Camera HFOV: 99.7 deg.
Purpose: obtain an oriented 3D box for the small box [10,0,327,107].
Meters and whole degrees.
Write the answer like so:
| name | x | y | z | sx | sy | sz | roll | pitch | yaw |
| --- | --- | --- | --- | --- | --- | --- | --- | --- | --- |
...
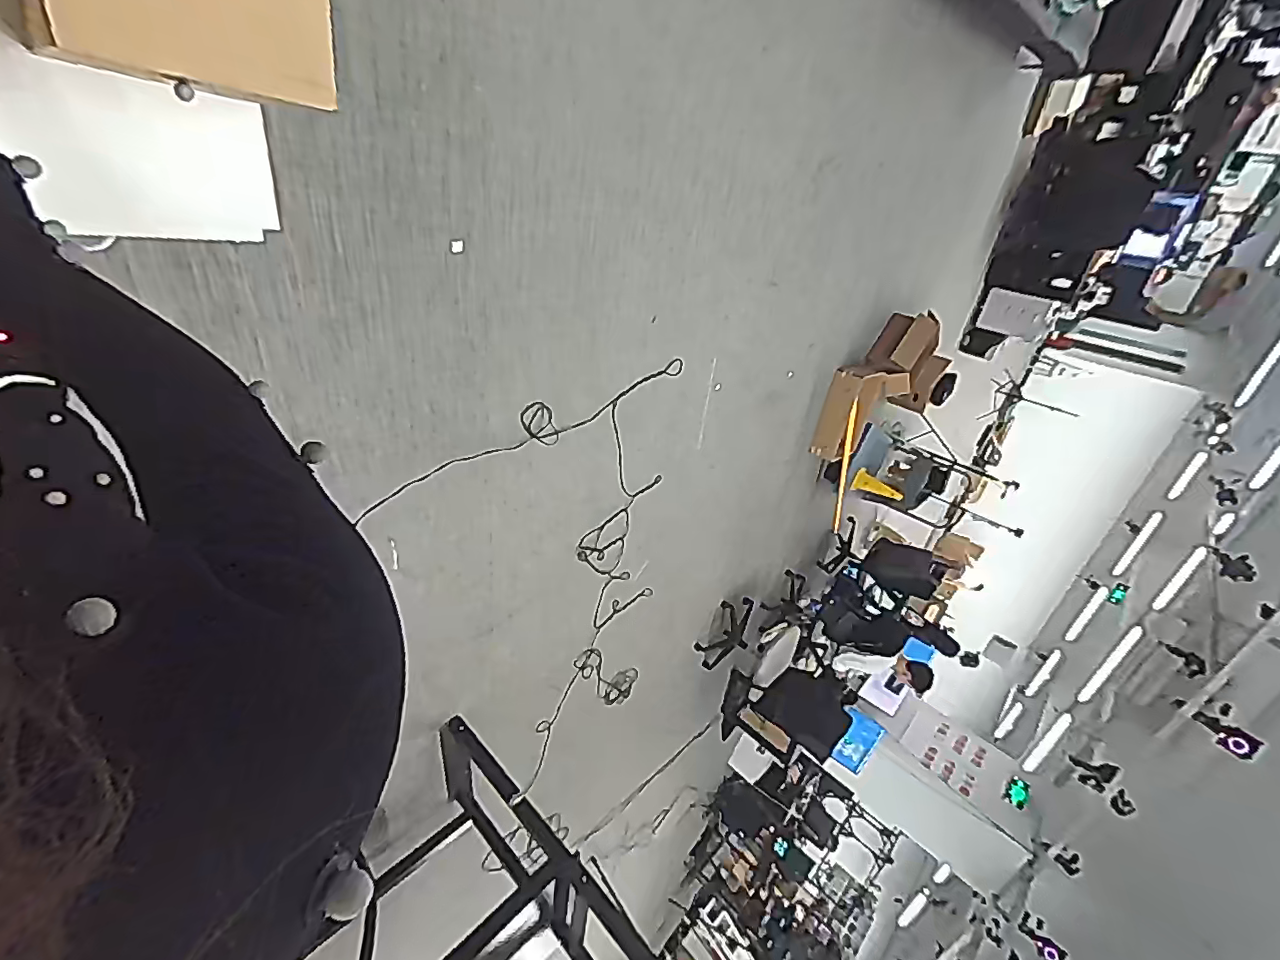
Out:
| name | x | y | z | sx | sy | sz | roll | pitch | yaw |
| --- | --- | --- | --- | --- | --- | --- | --- | --- | --- |
| small box | -0.376 | -0.409 | 0.421 | 0.179 | 0.176 | 0.168 | -19 | 130 | -45 |
